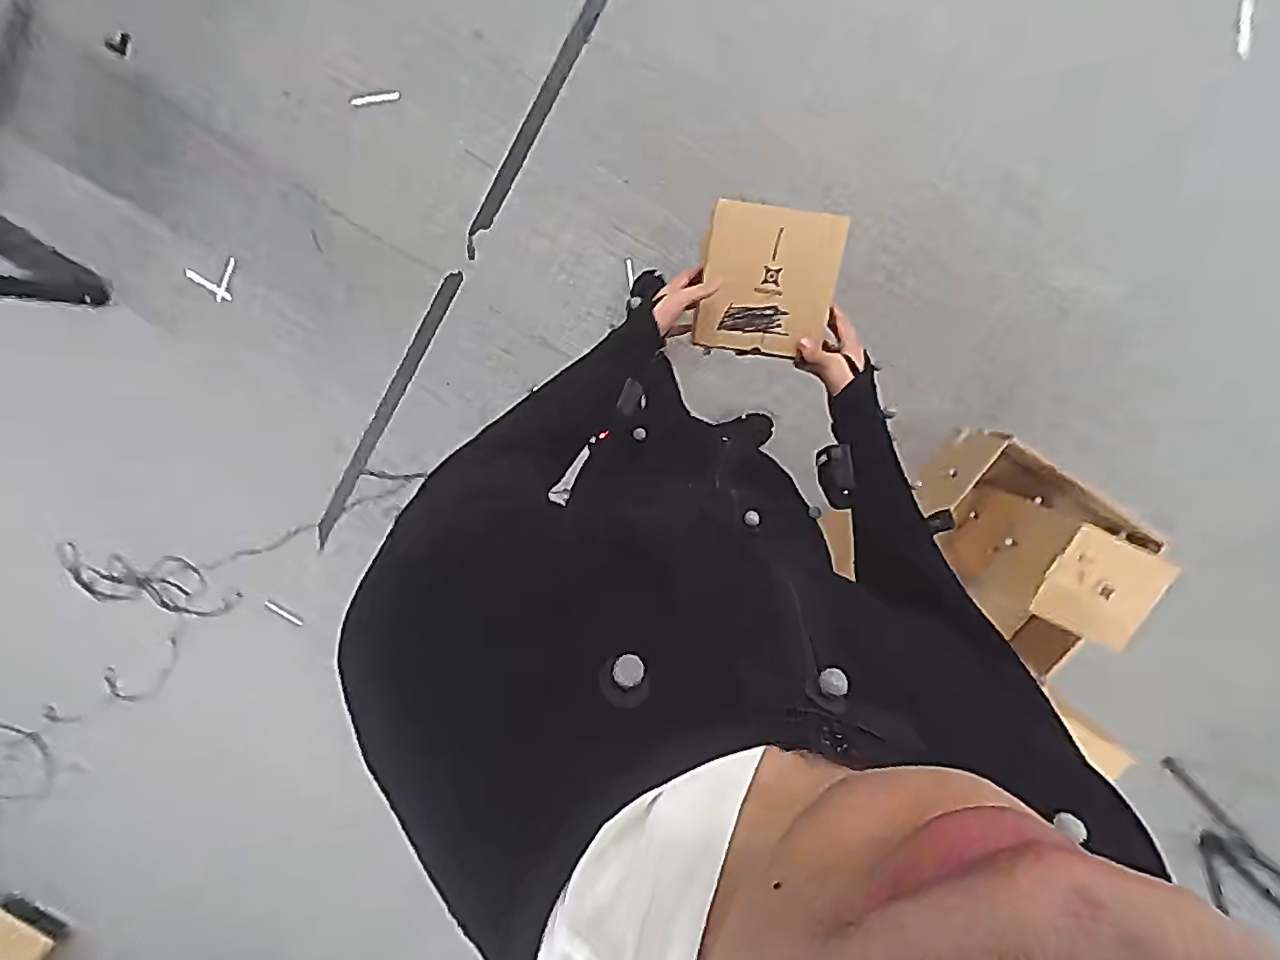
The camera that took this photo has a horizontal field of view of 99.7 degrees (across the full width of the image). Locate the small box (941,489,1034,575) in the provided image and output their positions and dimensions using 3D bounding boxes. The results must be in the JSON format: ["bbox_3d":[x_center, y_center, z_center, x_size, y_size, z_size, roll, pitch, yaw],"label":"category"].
[{"bbox_3d":[0.769,0.132,1.111,0.179,0.176,0.168,25,102,-1],"label":"small box"}]

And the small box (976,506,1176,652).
[{"bbox_3d":[0.747,0.162,0.950,0.179,0.176,0.168,26,102,0],"label":"small box"}]

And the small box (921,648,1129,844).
[{"bbox_3d":[0.575,0.403,0.843,0.168,0.176,0.179,30,102,-3],"label":"small box"}]

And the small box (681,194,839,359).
[{"bbox_3d":[0.149,-0.268,0.743,0.168,0.176,0.179,7,104,-1],"label":"small box"}]
